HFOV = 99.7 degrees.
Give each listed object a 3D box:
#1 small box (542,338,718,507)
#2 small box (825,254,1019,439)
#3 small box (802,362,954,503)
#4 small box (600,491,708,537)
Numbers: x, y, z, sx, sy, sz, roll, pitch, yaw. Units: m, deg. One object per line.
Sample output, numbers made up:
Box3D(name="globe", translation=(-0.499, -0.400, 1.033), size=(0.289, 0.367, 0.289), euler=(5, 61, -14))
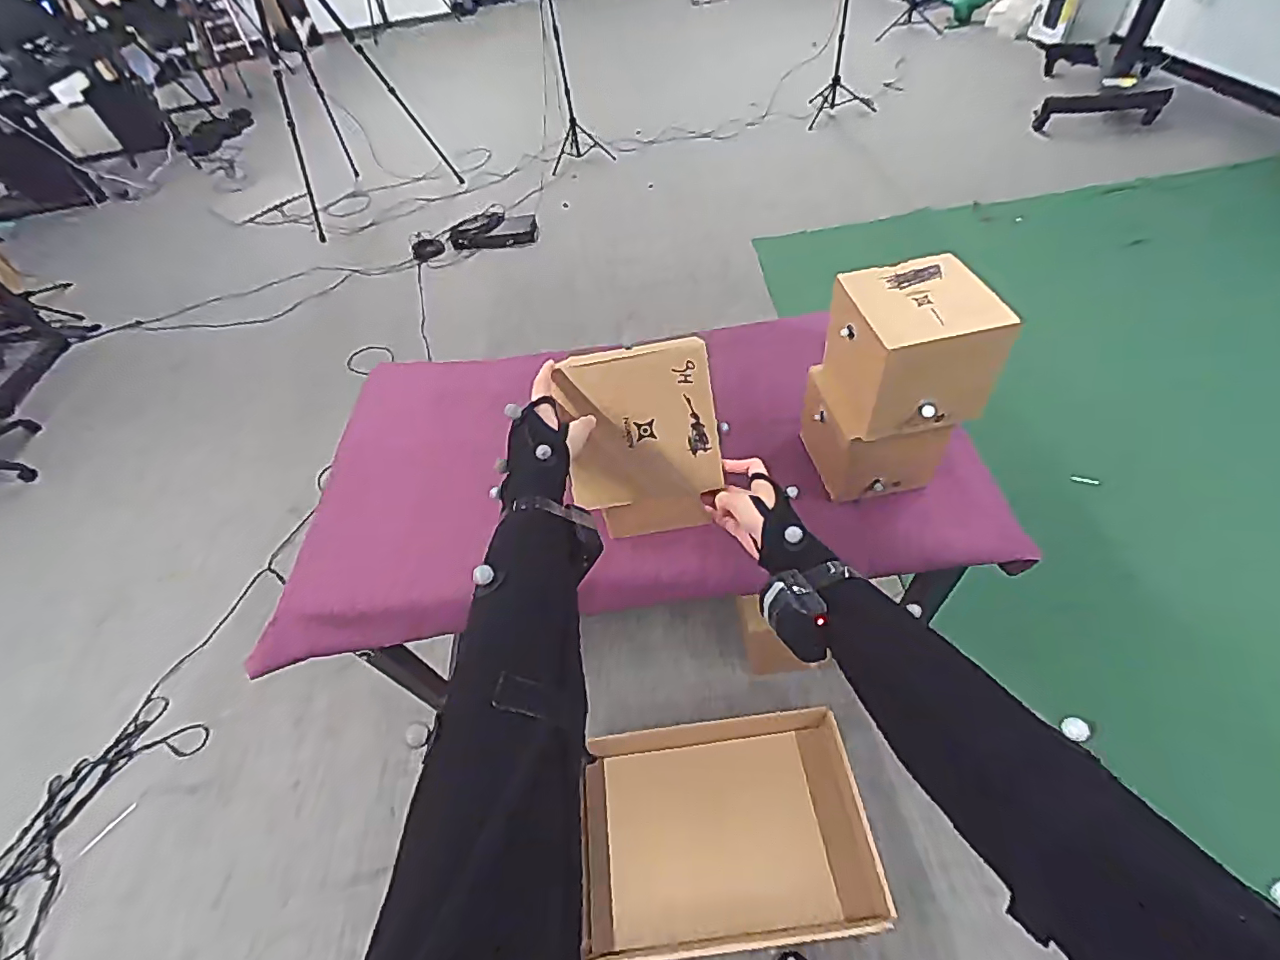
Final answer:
Box3D(name="small box", translation=(-0.004, -0.078, 0.669), size=(0.179, 0.168, 0.176), euler=(-8, 16, 5))
Box3D(name="small box", translation=(0.374, -0.185, 0.760), size=(0.168, 0.176, 0.179), euler=(-11, 50, 2))
Box3D(name="small box", translation=(0.378, -0.088, 0.894), size=(0.168, 0.176, 0.179), euler=(-11, 50, 2))
Box3D(name="small box", translation=(0.016, -0.026, 0.900), size=(0.179, 0.176, 0.168), euler=(-10, 49, 2))
